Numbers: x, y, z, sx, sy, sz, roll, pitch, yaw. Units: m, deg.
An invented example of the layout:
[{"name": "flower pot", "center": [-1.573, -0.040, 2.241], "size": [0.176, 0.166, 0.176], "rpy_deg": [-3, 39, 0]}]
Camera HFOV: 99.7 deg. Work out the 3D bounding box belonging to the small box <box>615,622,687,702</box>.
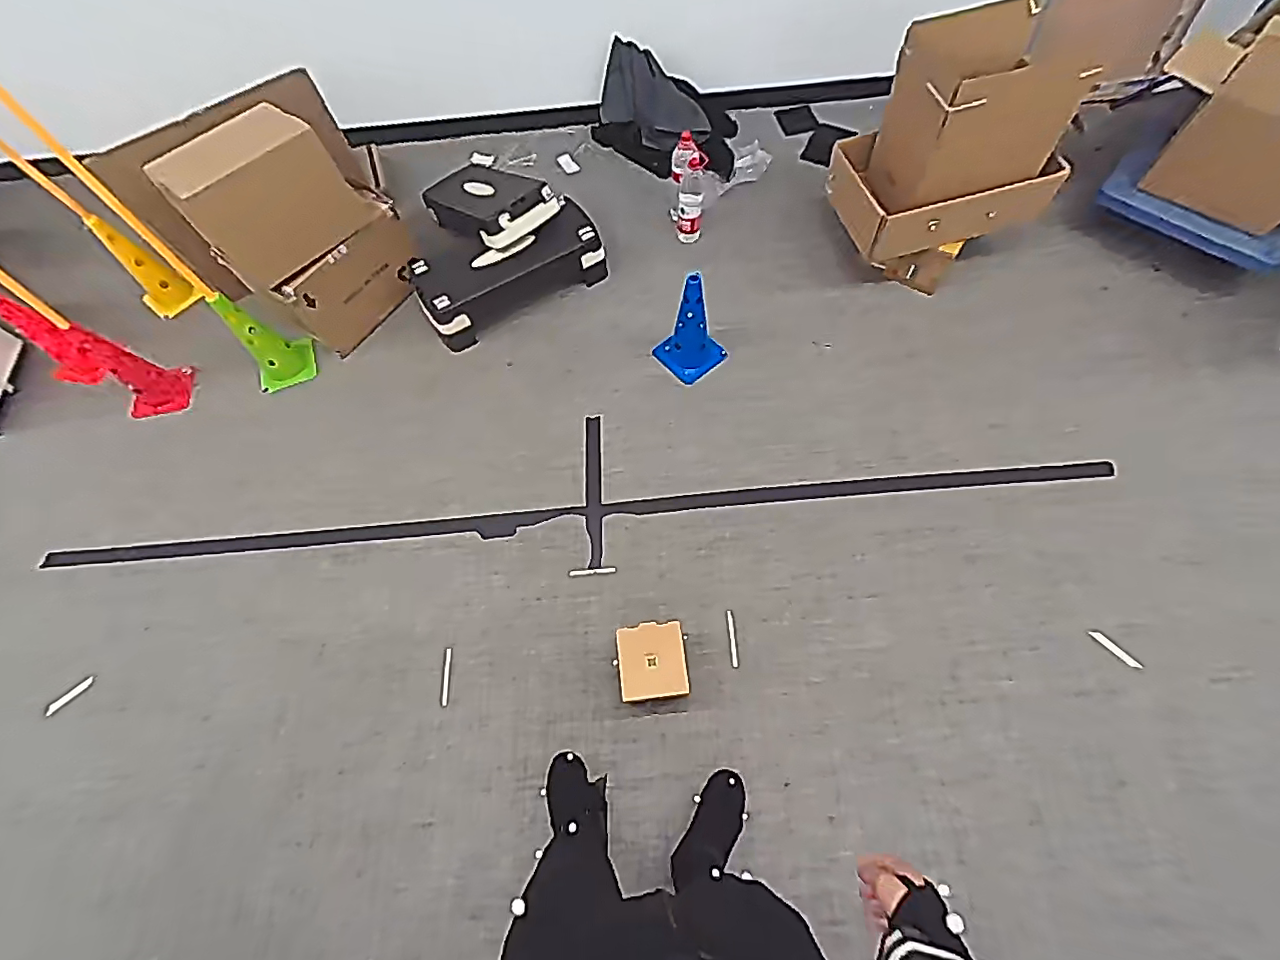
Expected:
[{"name": "small box", "center": [0.030, 0.478, 1.406], "size": [0.168, 0.176, 0.179], "rpy_deg": [-7, 65, 0]}]
